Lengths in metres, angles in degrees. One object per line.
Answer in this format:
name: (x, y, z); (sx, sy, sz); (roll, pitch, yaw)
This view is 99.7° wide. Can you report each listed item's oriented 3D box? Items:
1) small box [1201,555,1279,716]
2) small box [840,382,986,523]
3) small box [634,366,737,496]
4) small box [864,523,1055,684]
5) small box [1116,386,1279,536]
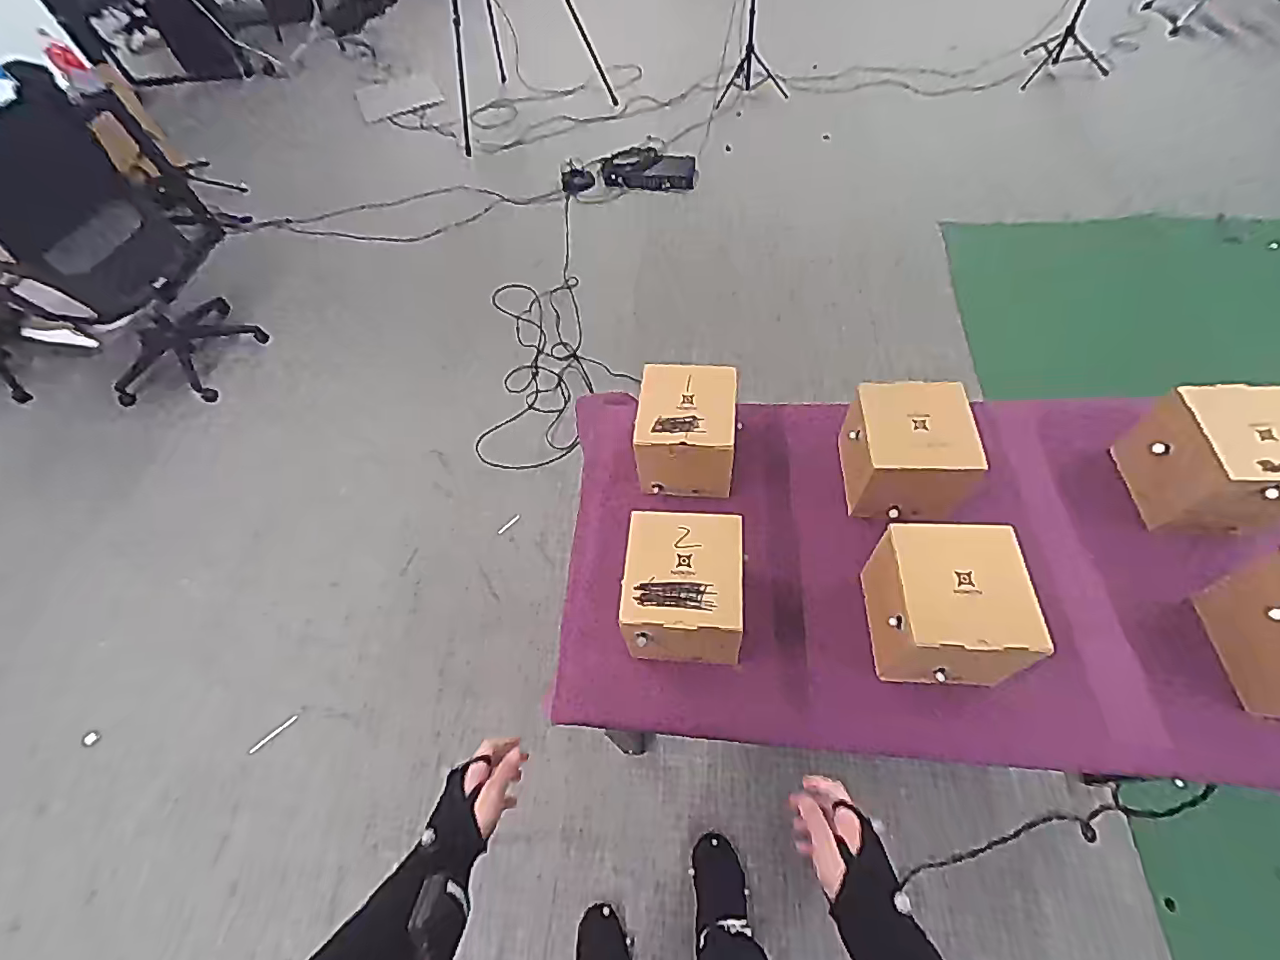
small box: (0.906, 0.202, 0.701); (0.168, 0.176, 0.179); (1, 57, 9)
small box: (0.448, -0.046, 0.921); (0.168, 0.176, 0.179); (1, 58, 8)
small box: (0.088, -0.084, 0.982); (0.168, 0.176, 0.179); (3, 59, 8)
small box: (0.436, 0.179, 0.776); (0.168, 0.176, 0.179); (1, 57, 6)
small box: (0.916, -0.029, 0.854); (0.168, 0.176, 0.179); (0, 57, 8)
